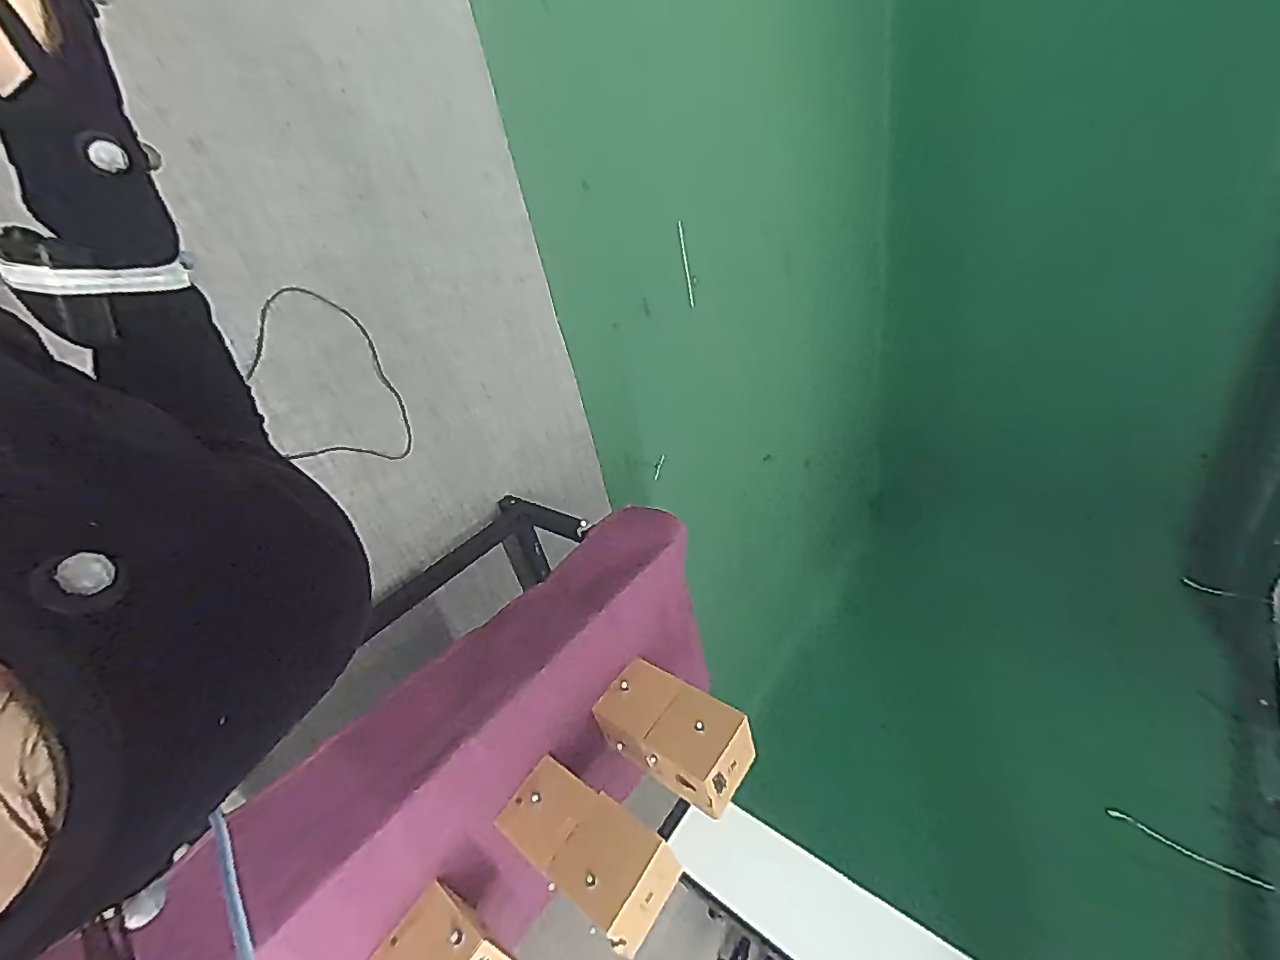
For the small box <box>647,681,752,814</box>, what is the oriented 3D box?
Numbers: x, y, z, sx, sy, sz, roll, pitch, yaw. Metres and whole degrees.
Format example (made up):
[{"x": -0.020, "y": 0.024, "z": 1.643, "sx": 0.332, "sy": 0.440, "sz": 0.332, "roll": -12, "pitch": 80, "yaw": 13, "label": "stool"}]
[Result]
[{"x": 0.132, "y": 0.604, "z": 1.238, "sx": 0.179, "sy": 0.176, "sz": 0.168, "roll": -42, "pitch": 130, "yaw": -35, "label": "small box"}]

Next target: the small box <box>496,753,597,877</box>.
[{"x": -0.177, "y": 0.734, "z": 1.176, "sx": 0.168, "sy": 0.176, "sz": 0.179, "roll": -46, "pitch": 132, "yaw": -31, "label": "small box"}]

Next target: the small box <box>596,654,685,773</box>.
[{"x": 0.010, "y": 0.571, "z": 1.343, "sx": 0.179, "sy": 0.176, "sz": 0.168, "roll": -41, "pitch": 130, "yaw": -34, "label": "small box"}]

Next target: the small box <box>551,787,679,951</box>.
[{"x": -0.054, "y": 0.762, "z": 1.072, "sx": 0.179, "sy": 0.176, "sz": 0.168, "roll": -45, "pitch": 133, "yaw": -32, "label": "small box"}]
